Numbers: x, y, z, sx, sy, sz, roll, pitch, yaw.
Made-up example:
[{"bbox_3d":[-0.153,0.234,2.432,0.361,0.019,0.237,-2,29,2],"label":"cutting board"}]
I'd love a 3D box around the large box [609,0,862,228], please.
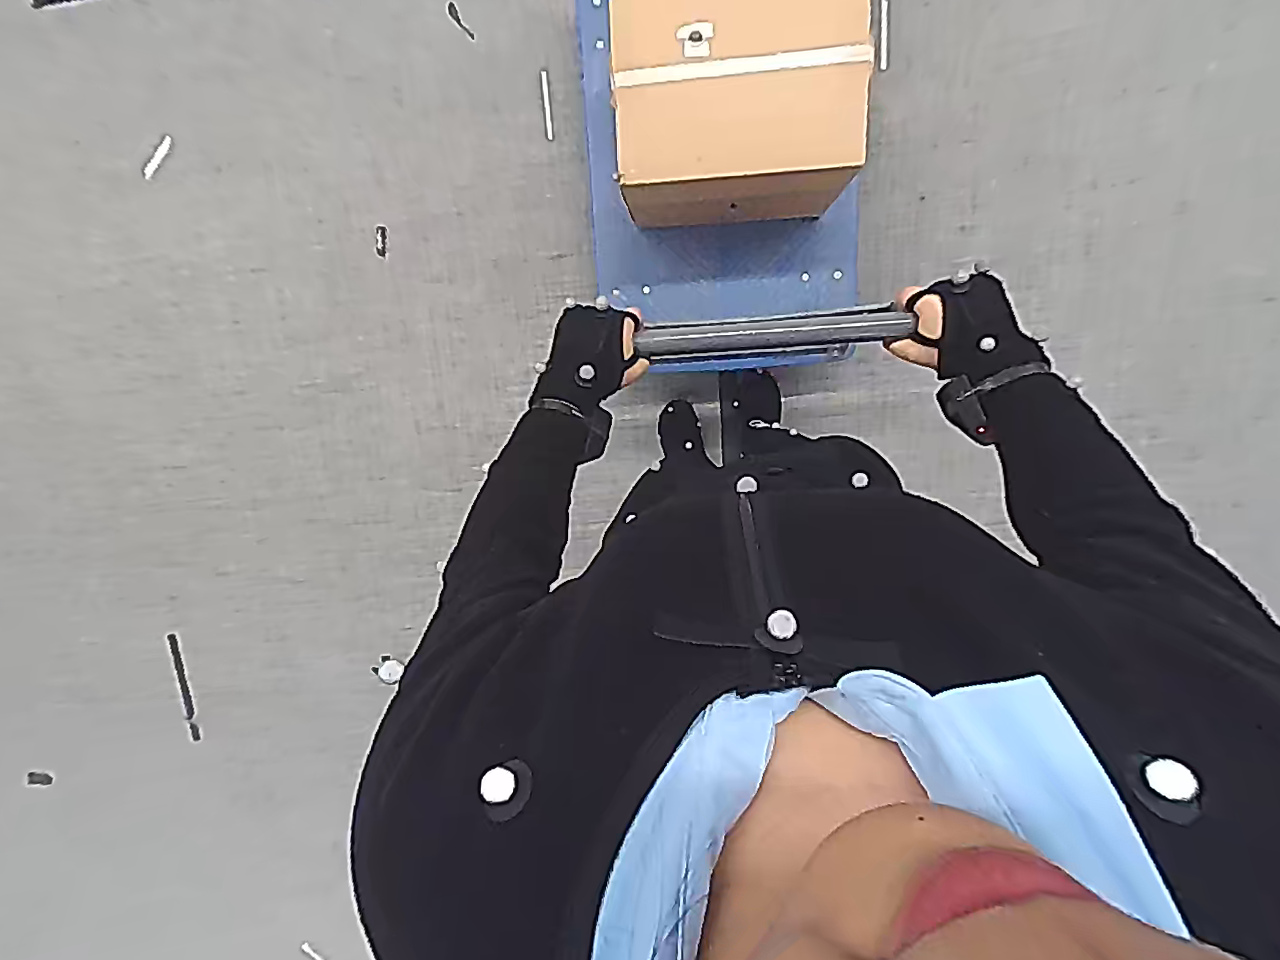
[{"bbox_3d":[0.173,-0.691,1.024,0.408,0.320,0.320,-2,101,7],"label":"large box"}]
